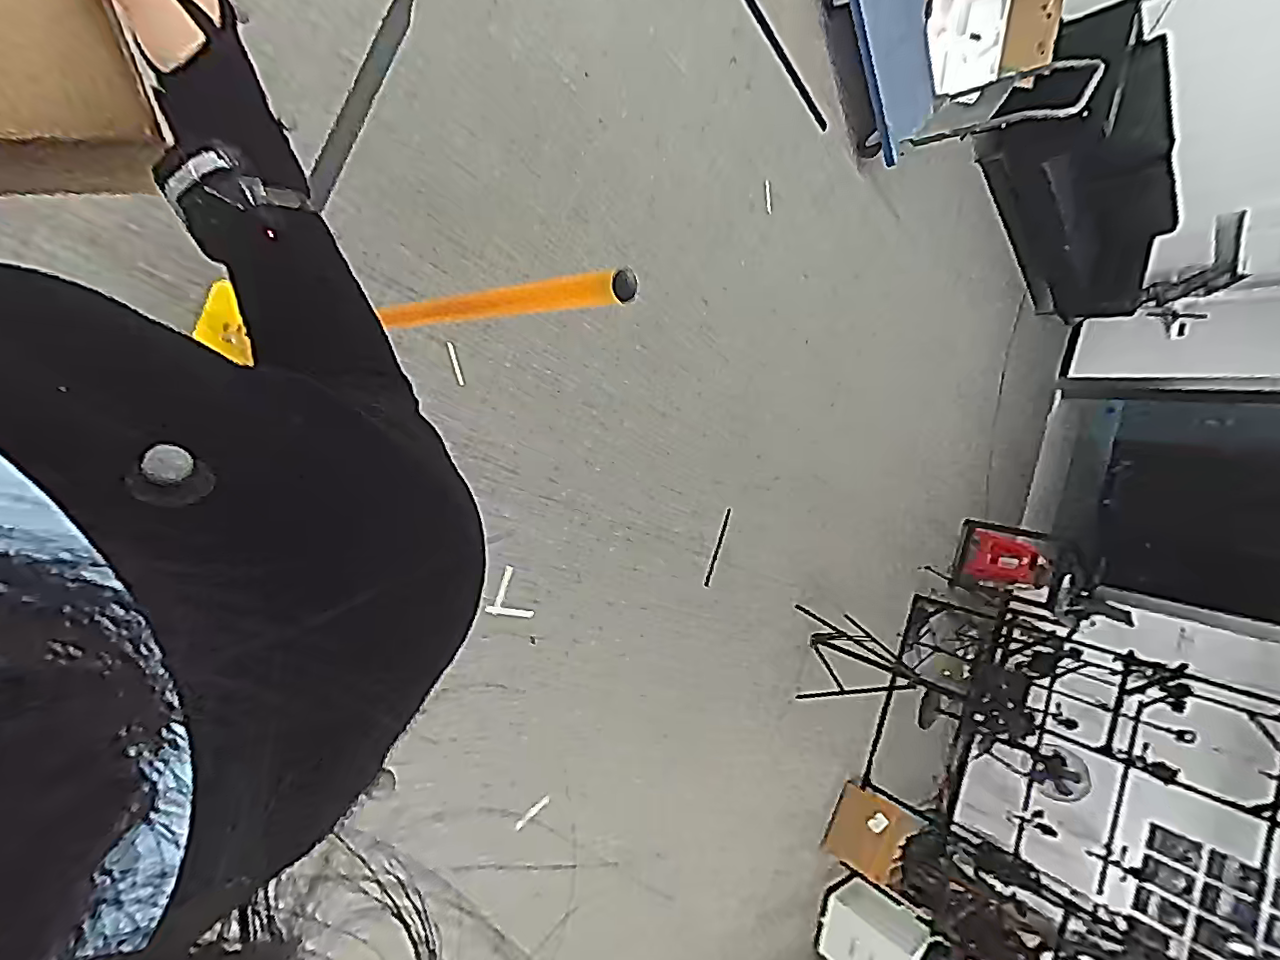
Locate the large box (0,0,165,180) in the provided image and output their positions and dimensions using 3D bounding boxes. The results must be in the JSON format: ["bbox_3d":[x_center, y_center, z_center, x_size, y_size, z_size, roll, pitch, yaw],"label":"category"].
[{"bbox_3d":[-0.599,-0.364,0.320,0.408,0.320,0.320,-23,120,-35],"label":"large box"}]
